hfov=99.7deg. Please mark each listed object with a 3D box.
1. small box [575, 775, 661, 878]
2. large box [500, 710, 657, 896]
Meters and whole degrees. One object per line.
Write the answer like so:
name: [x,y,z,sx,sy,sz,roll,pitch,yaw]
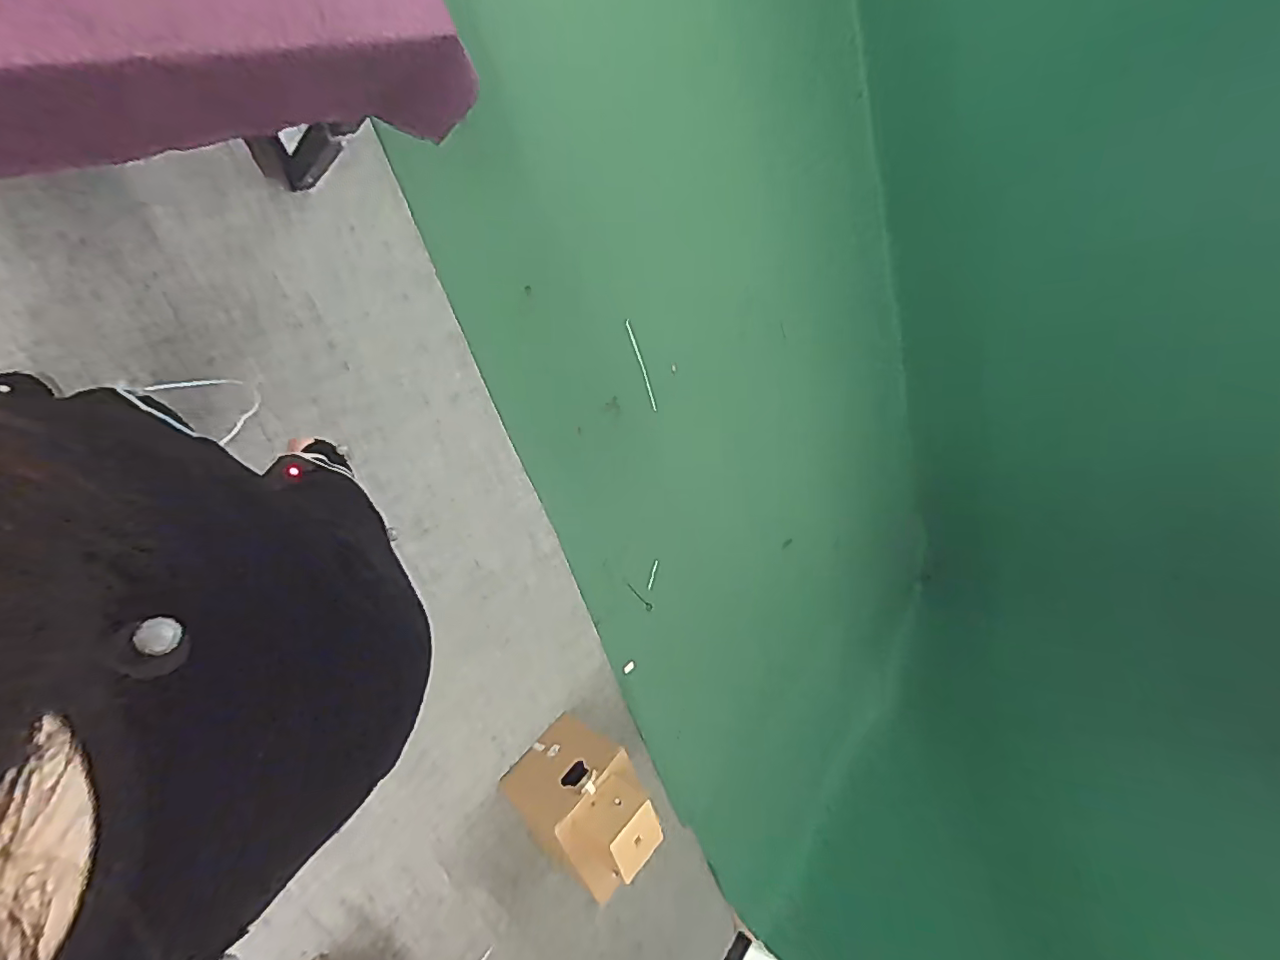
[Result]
small box: [-0.068,1.023,1.617,0.168,0.176,0.179,-34,118,-36]
large box: [-0.203,1.076,1.834,0.320,0.320,0.408,-38,120,-36]
